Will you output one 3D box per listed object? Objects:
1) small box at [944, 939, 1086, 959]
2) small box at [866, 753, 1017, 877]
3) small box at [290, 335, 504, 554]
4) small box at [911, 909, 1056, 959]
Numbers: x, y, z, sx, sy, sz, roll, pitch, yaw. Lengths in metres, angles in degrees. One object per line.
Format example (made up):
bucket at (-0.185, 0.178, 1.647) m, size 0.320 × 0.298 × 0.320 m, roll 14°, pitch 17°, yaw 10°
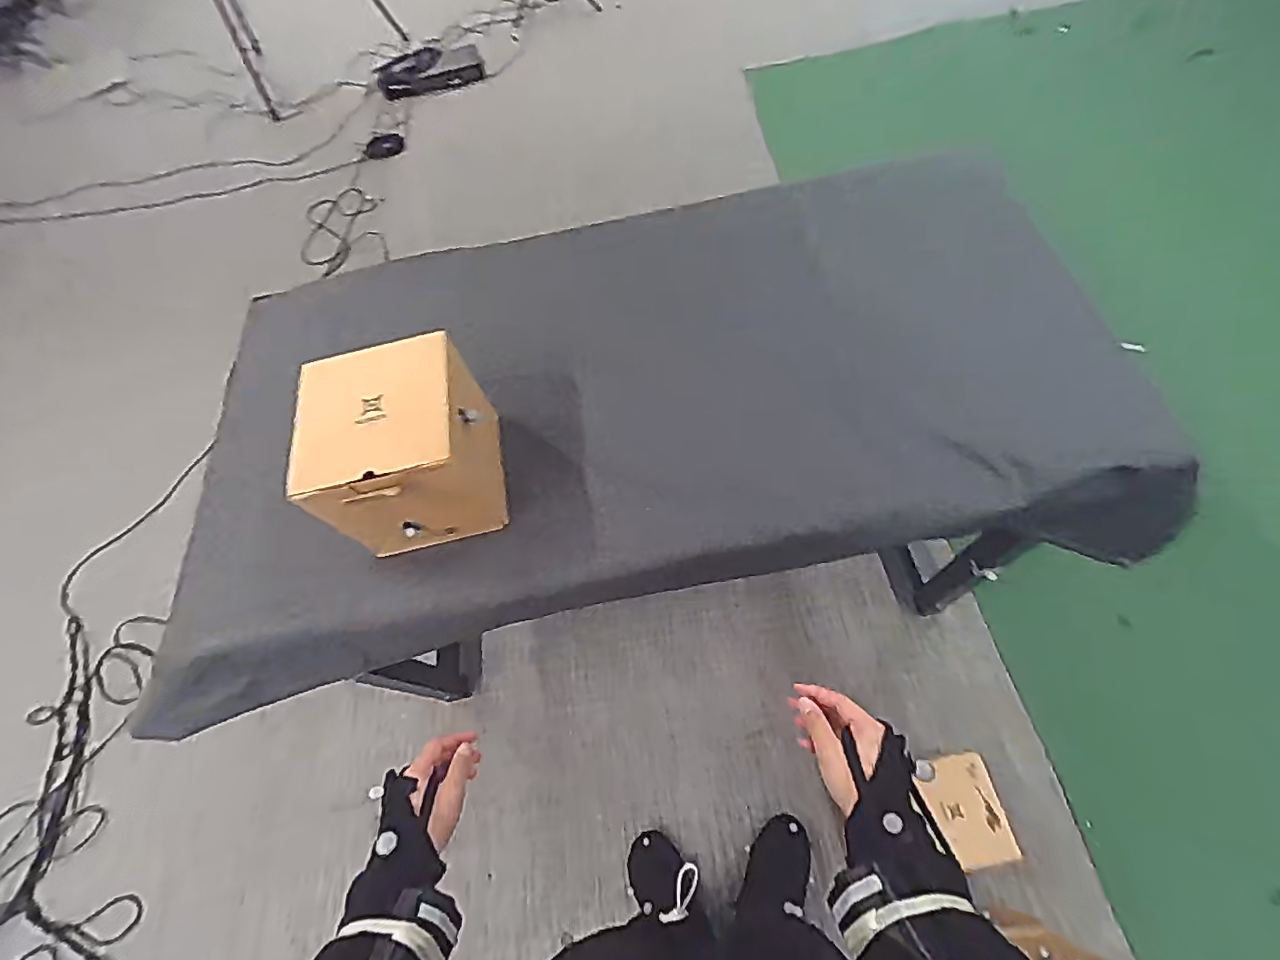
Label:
small box at (0.559, 0.759, 0.743) m, size 0.179 × 0.176 × 0.168 m, roll -8°, pitch 60°, yaw 5°
small box at (0.541, 0.618, 1.008) m, size 0.179 × 0.176 × 0.168 m, roll -12°, pitch 60°, yaw 1°
small box at (-0.270, -0.035, 0.637) m, size 0.168 × 0.176 × 0.179 m, roll -14°, pitch 61°, yaw 0°
small box at (0.581, 0.829, 0.890) m, size 0.179 × 0.176 × 0.168 m, roll -8°, pitch 61°, yaw 5°
